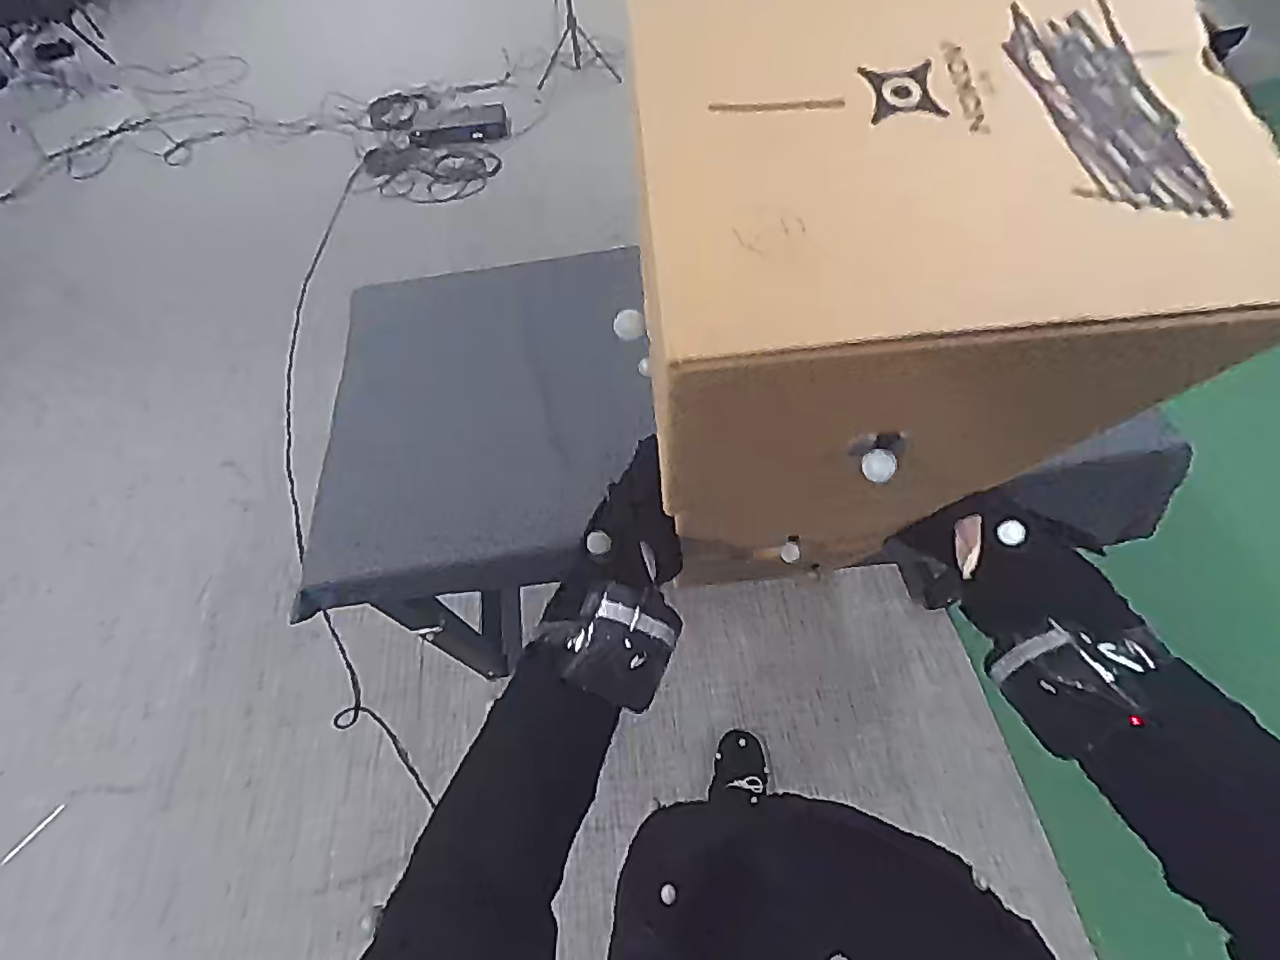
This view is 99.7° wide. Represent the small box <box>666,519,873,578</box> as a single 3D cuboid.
[{"bbox_3d":[0.109,0.003,0.558,0.179,0.176,0.168,-7,72,2],"label":"small box"}]

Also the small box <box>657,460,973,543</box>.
[{"bbox_3d":[0.099,-0.053,0.403,0.179,0.176,0.168,-5,72,0],"label":"small box"}]
